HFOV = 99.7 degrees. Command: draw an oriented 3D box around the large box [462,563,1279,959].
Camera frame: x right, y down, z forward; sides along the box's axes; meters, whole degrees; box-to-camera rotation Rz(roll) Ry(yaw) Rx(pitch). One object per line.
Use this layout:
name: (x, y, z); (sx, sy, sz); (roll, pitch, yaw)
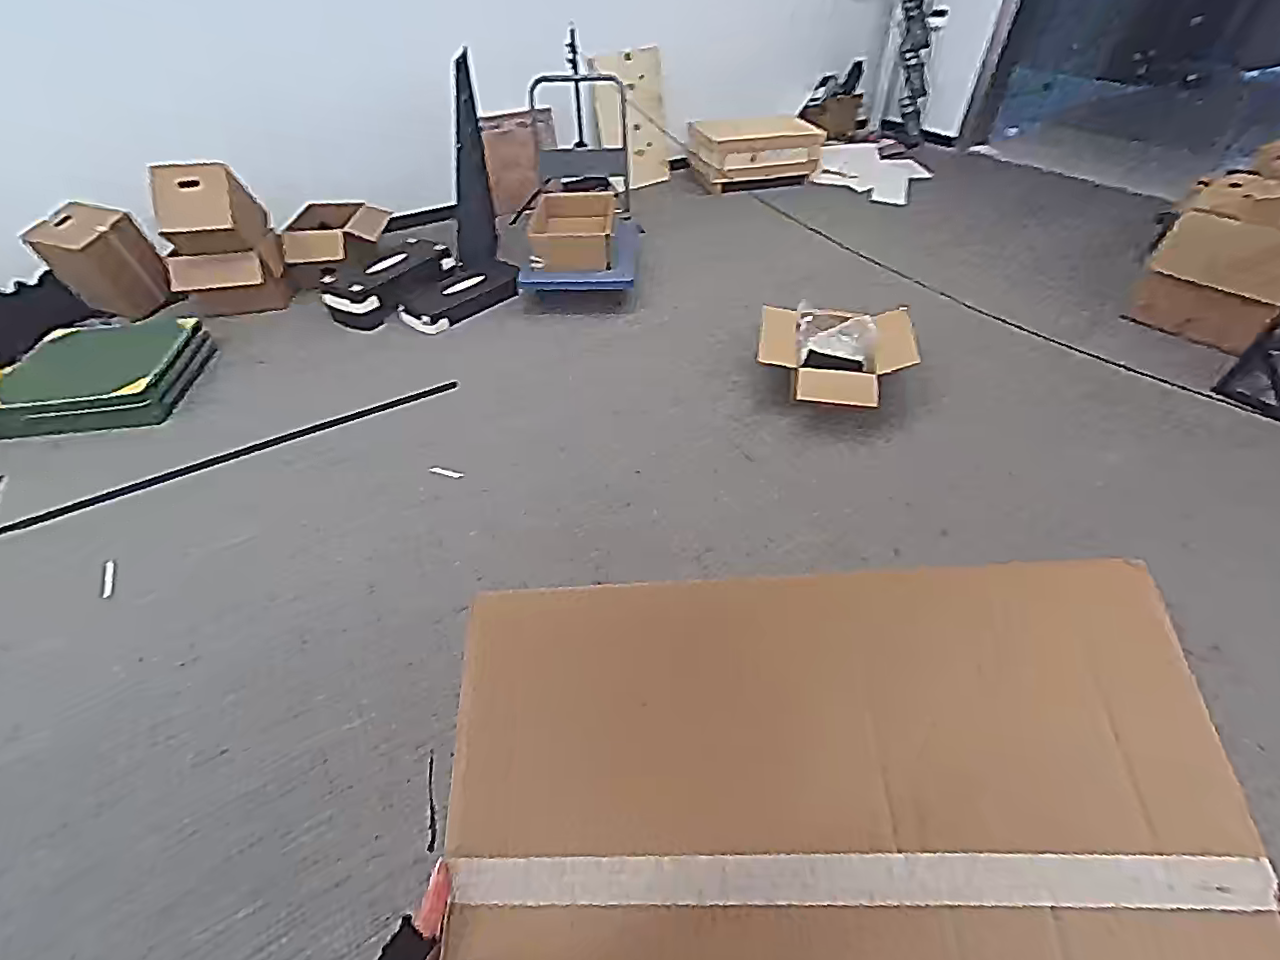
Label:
large box: (0.118, 0.266, 0.419); (0.408, 0.320, 0.320); (-4, 67, 6)
